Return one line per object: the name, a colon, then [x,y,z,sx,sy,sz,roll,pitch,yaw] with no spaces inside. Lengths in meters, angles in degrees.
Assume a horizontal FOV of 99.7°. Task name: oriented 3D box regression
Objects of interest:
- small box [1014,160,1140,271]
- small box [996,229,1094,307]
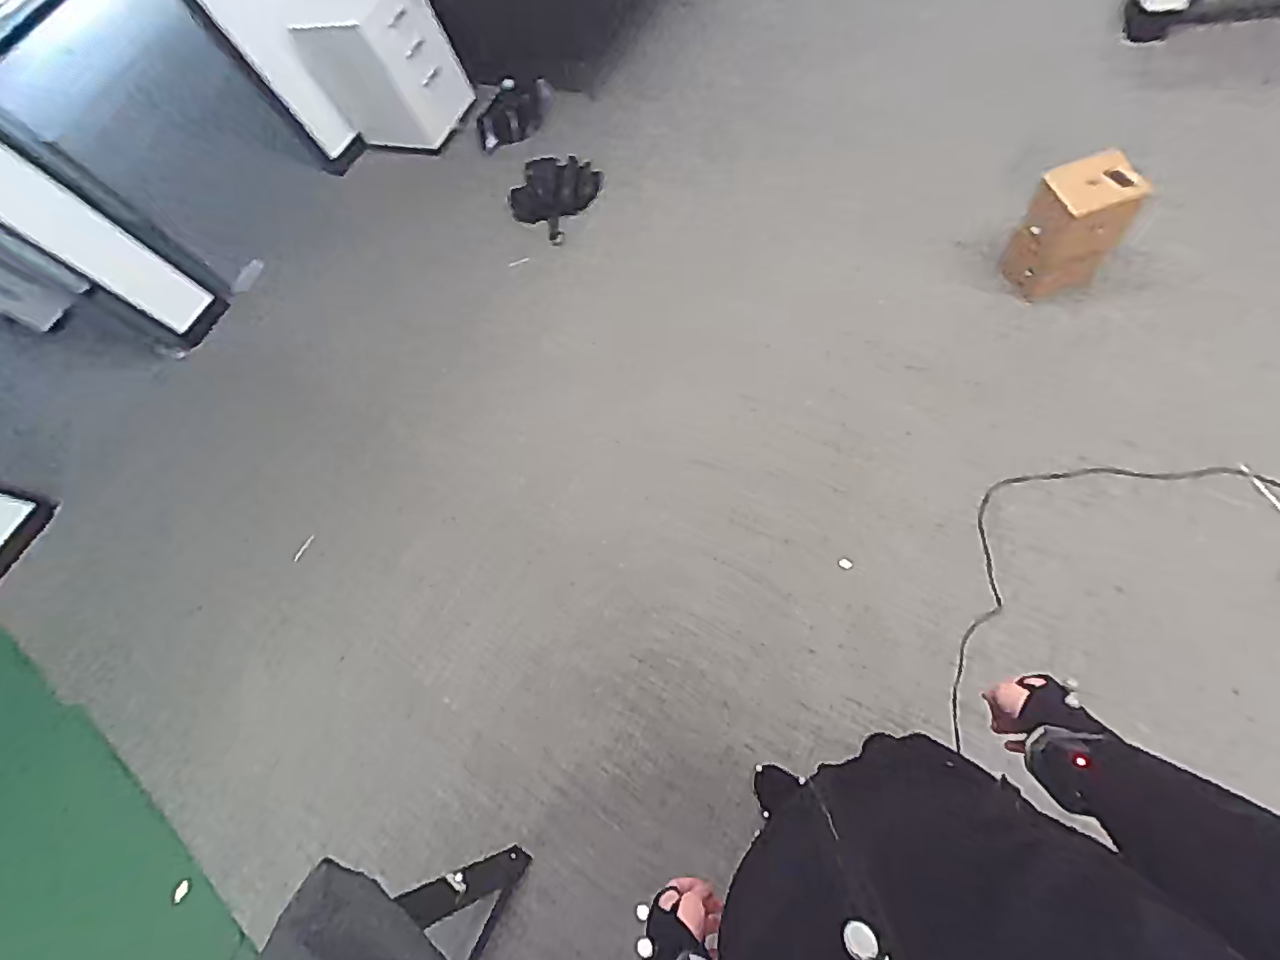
small box: [1.135,-0.688,1.423,0.179,0.176,0.168,-16,63,11]
small box: [1.176,-0.639,1.575,0.179,0.176,0.168,-22,62,5]
